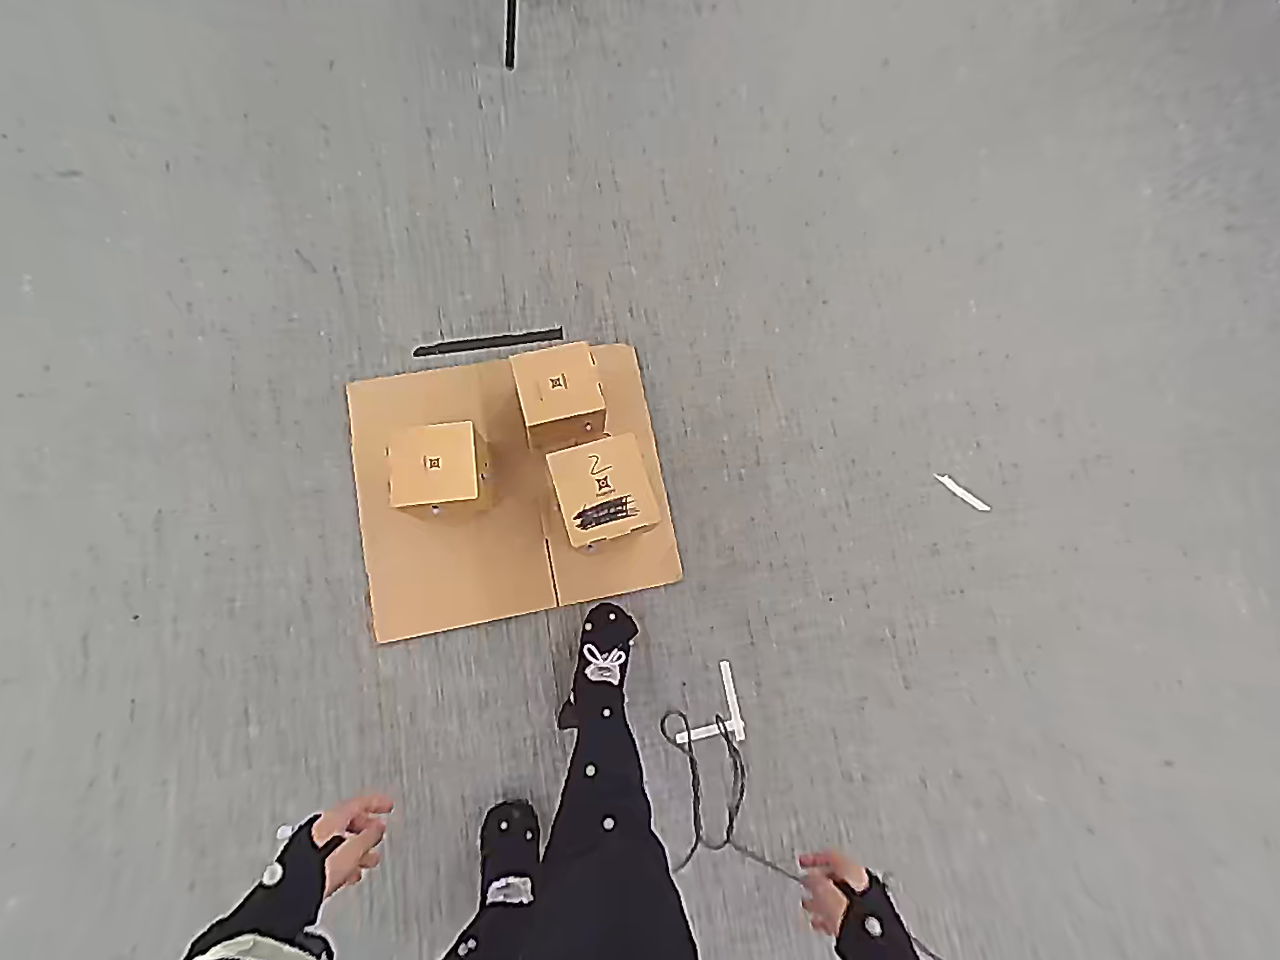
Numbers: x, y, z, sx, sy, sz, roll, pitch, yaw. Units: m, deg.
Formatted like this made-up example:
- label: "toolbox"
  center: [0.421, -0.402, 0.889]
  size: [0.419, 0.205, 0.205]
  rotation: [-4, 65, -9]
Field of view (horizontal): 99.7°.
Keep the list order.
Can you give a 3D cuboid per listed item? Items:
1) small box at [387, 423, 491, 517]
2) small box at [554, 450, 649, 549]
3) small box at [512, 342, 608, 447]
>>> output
- label: "small box"
  center: [-0.423, -0.017, 1.166]
  size: [0.179, 0.176, 0.168]
  rotation: [-7, 80, -6]
- label: "small box"
  center: [-0.086, 0.051, 1.186]
  size: [0.168, 0.176, 0.179]
  rotation: [-14, 81, -8]
- label: "small box"
  center: [-0.178, -0.189, 1.227]
  size: [0.179, 0.176, 0.168]
  rotation: [-15, 80, -8]
